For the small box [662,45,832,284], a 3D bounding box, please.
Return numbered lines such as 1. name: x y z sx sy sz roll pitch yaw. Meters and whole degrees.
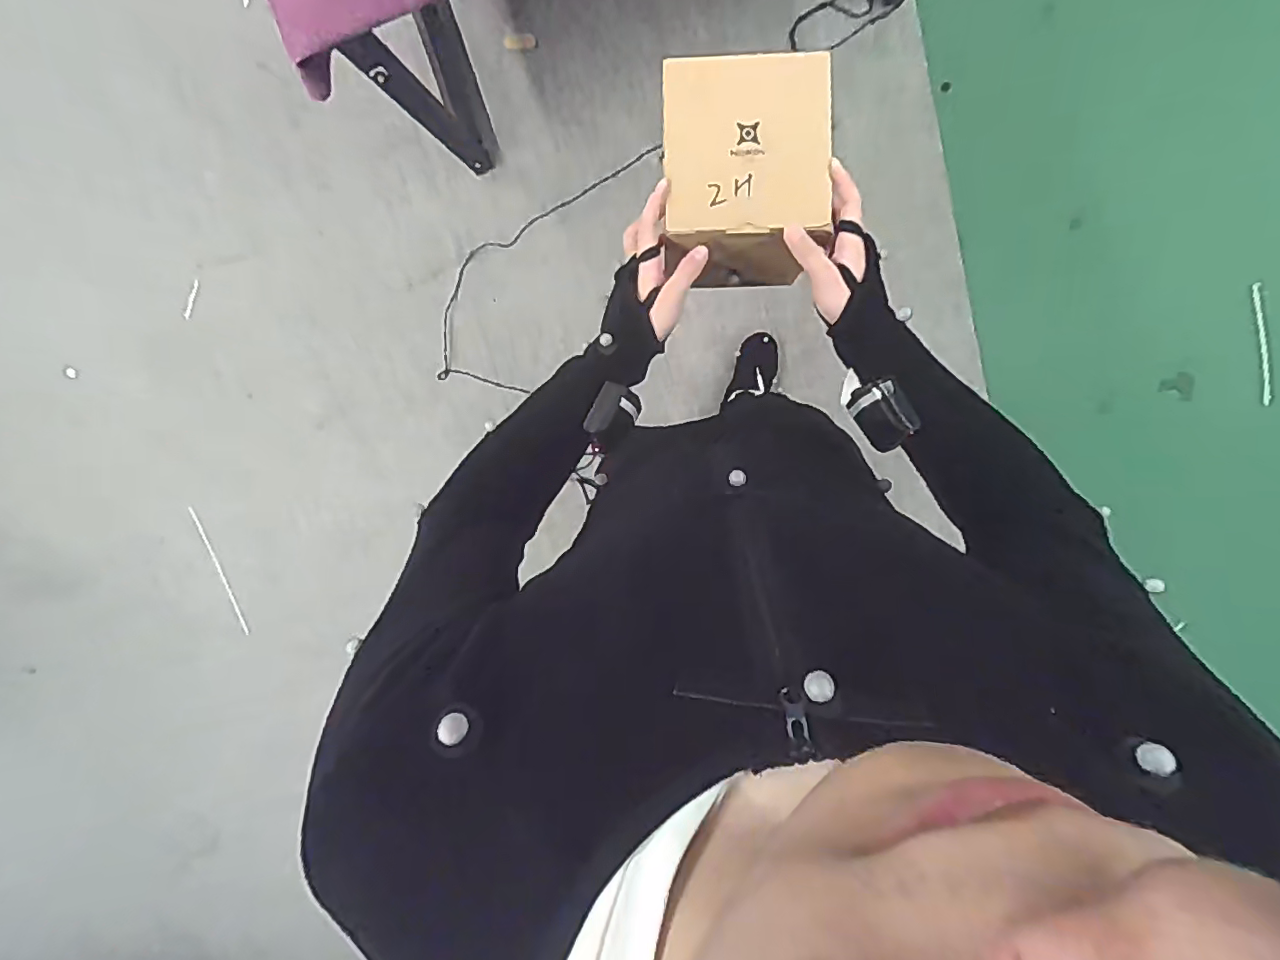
1. small box: 0.108 -0.338 0.609 0.168 0.176 0.179 0 91 3
